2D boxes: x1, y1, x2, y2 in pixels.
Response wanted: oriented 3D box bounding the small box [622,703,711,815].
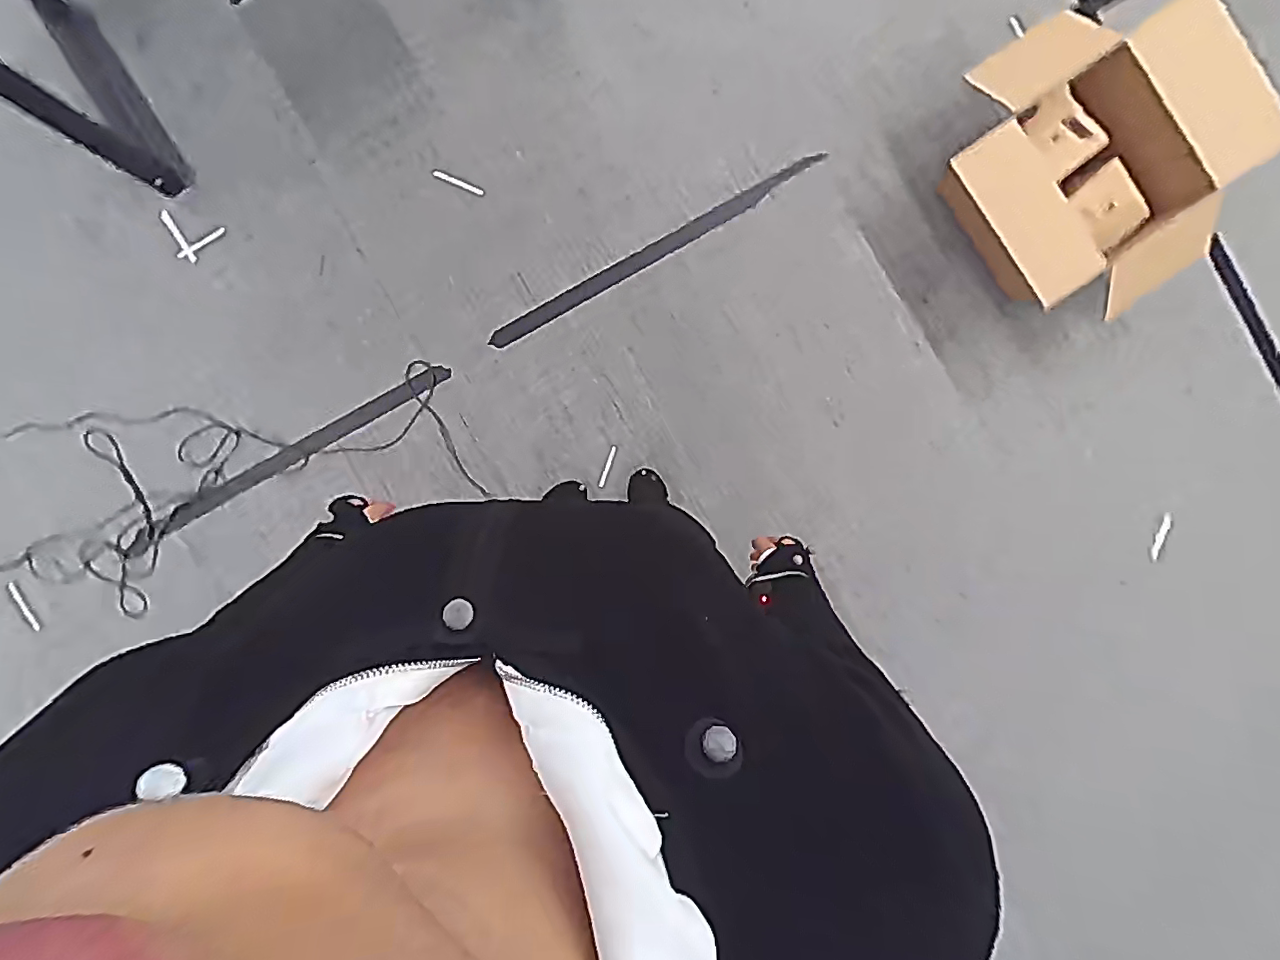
[{"bbox_3d":[0.062,0.698,1.385,0.168,0.176,0.179,-26,90,-2],"label":"small box"}]
